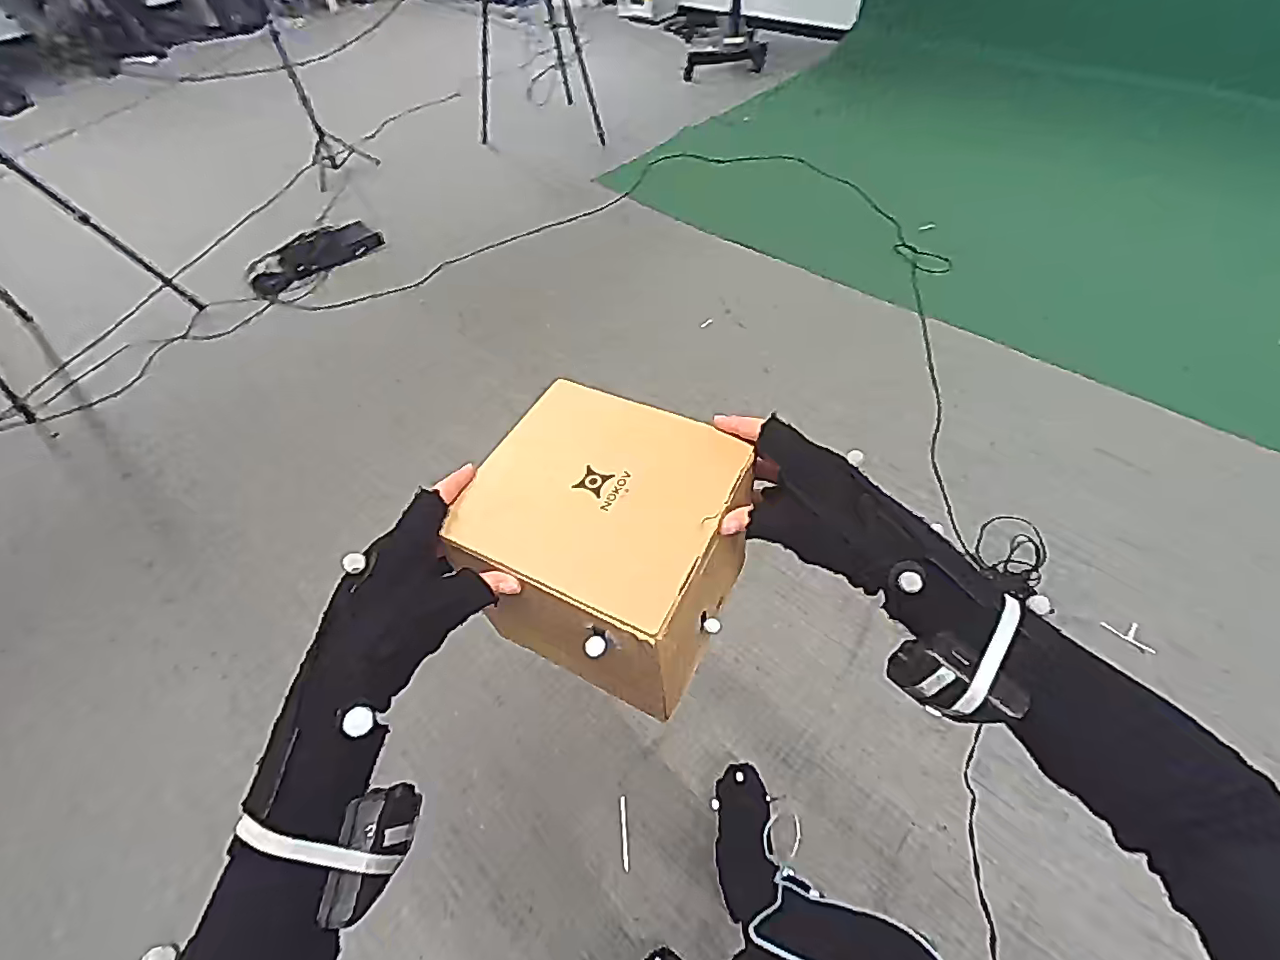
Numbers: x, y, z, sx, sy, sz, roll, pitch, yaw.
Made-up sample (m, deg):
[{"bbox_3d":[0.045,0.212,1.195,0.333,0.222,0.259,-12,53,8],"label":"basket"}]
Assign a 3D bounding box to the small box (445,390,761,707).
[{"bbox_3d":[-0.019,0.058,0.447,0.179,0.176,0.168,21,55,20],"label":"small box"}]
